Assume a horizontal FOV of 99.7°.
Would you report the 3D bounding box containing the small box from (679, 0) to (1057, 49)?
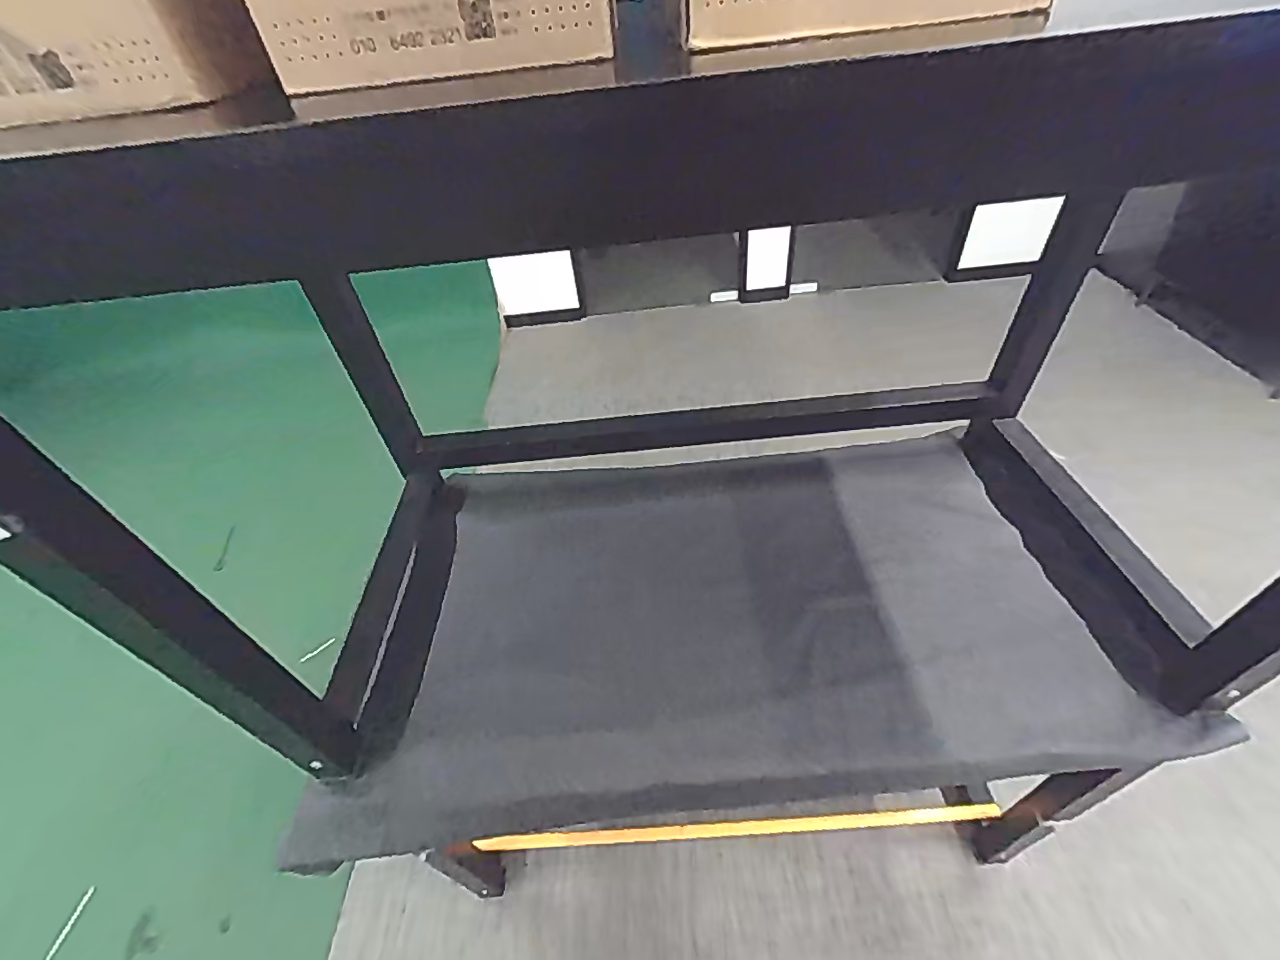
[{"bbox_3d":[0.102,-0.319,0.252,0.168,0.176,0.179,-4,44,3],"label":"small box"}]
